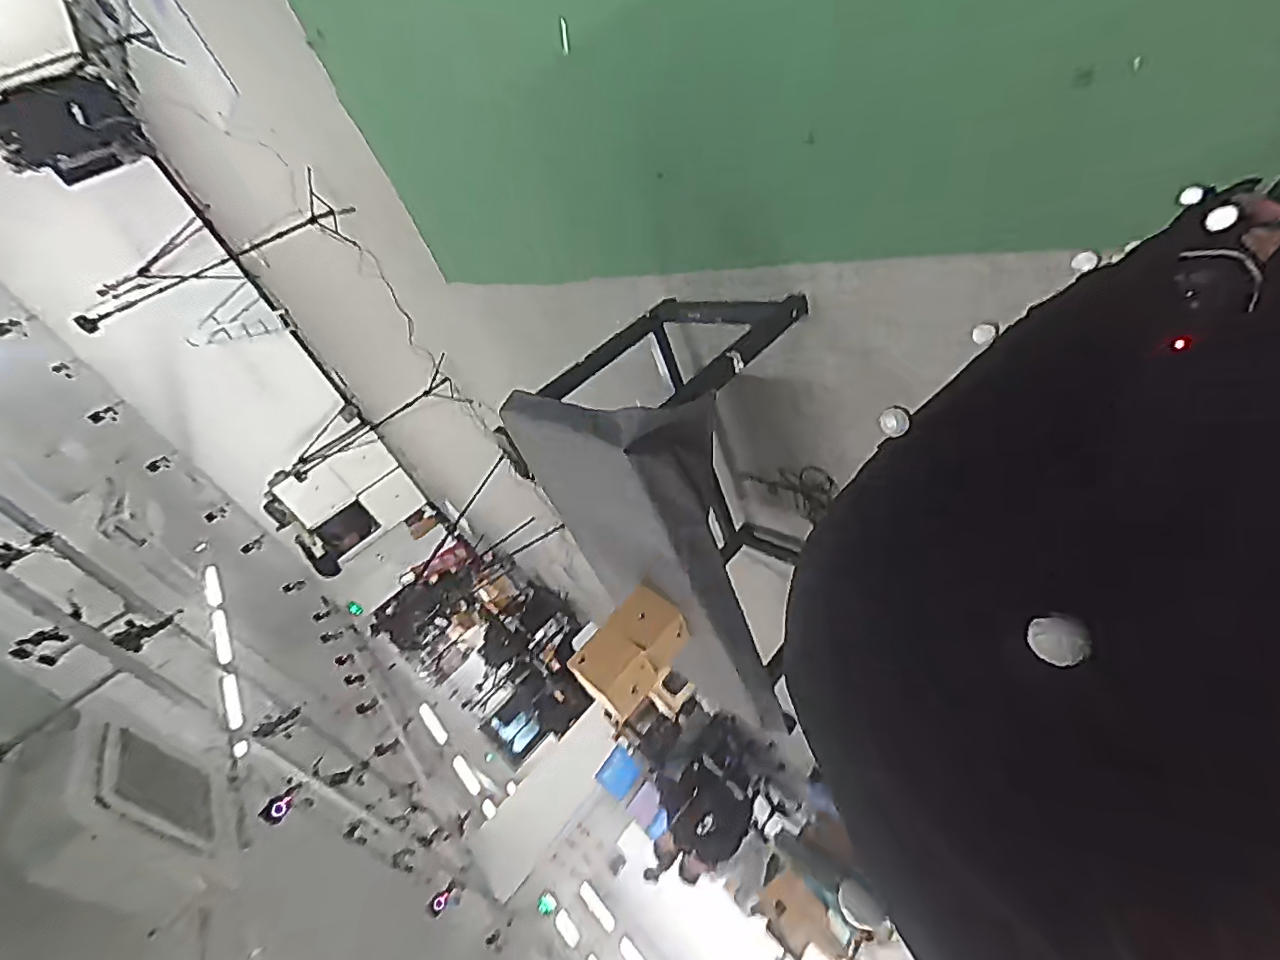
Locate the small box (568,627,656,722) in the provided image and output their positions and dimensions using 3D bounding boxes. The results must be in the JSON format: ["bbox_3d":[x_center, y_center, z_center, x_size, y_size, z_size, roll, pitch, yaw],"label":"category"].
[{"bbox_3d":[-0.074,0.567,1.598,0.179,0.176,0.168,22,146,45],"label":"small box"}]
